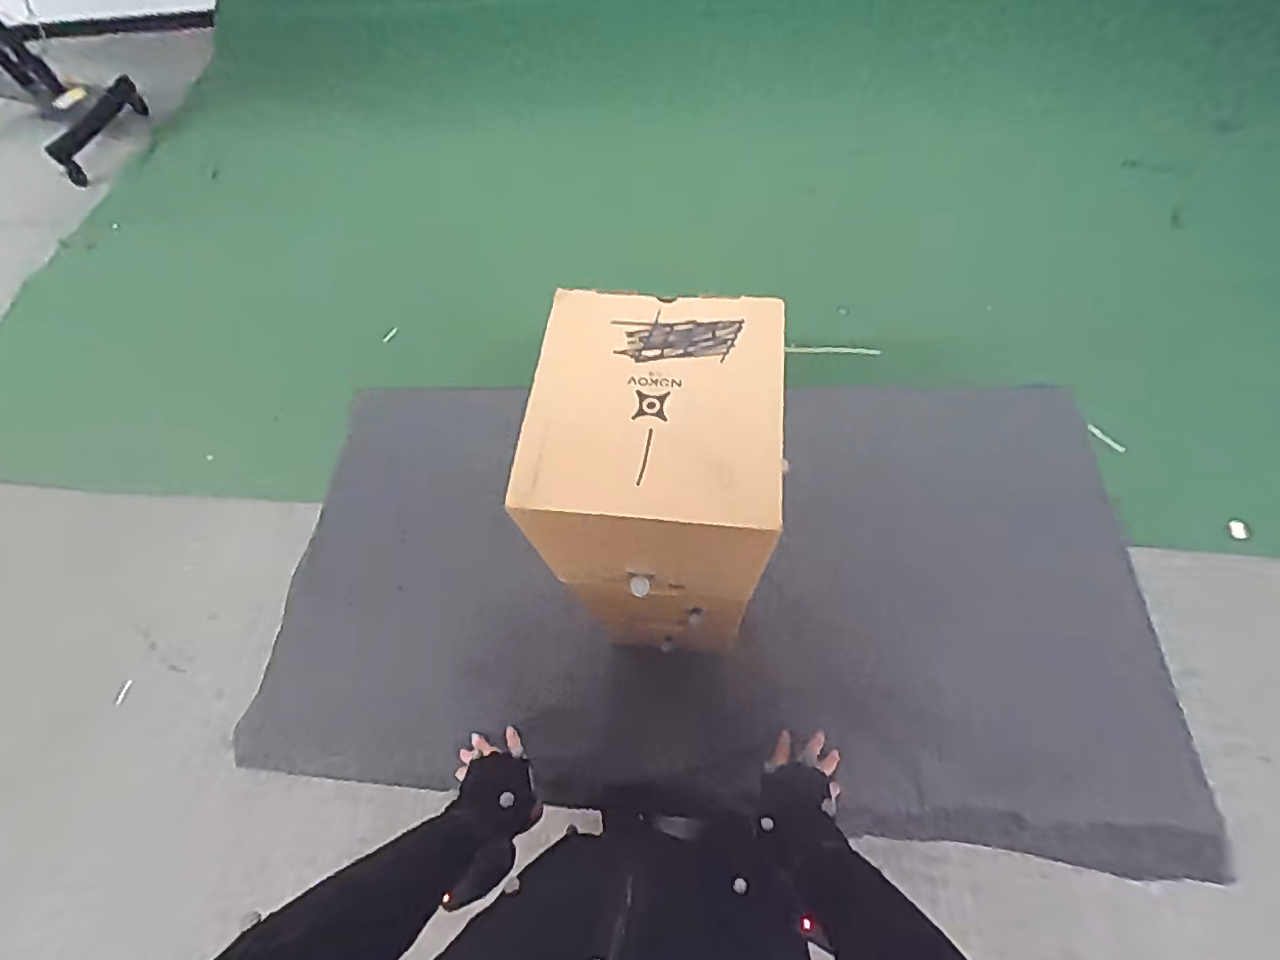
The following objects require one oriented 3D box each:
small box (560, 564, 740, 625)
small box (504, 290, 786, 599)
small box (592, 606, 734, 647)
[{"bbox_3d":[0.025,0.047,0.568,0.168,0.176,0.179,3,64,6],"label":"small box"},{"bbox_3d":[0.015,-0.019,0.419,0.168,0.176,0.179,4,66,7],"label":"small box"},{"bbox_3d":[0.043,0.117,0.714,0.168,0.176,0.179,4,65,7],"label":"small box"}]
